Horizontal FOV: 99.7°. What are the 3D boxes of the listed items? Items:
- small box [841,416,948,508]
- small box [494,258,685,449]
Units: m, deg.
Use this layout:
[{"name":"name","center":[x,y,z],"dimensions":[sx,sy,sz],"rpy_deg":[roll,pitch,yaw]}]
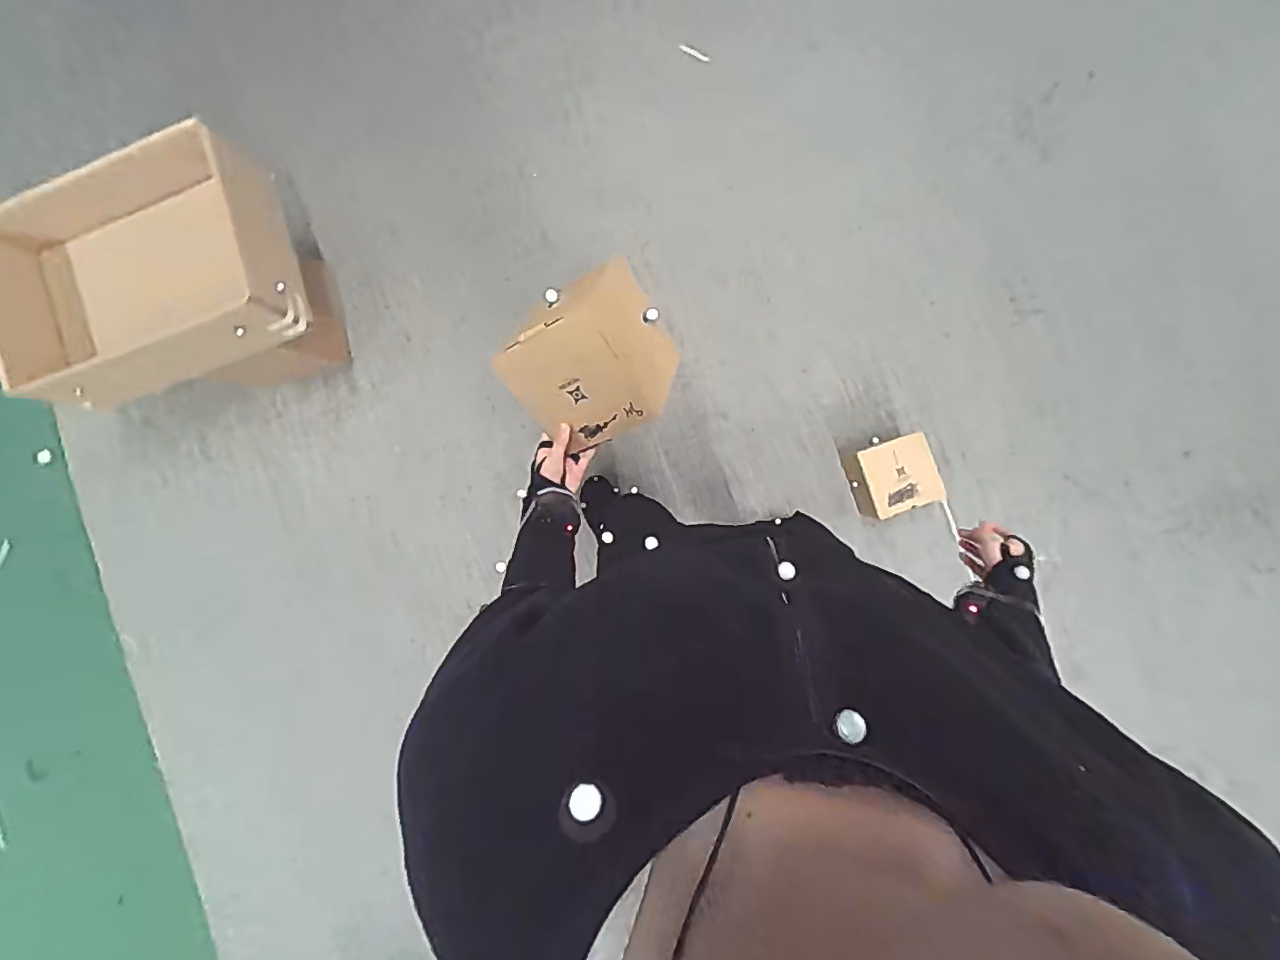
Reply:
[{"name":"small box","center":[0.629,-0.044,1.357],"dimensions":[0.168,0.176,0.179],"rpy_deg":[-22,87,7]},{"name":"small box","center":[-0.058,-0.177,0.740],"dimensions":[0.168,0.176,0.179],"rpy_deg":[-17,125,32]}]
